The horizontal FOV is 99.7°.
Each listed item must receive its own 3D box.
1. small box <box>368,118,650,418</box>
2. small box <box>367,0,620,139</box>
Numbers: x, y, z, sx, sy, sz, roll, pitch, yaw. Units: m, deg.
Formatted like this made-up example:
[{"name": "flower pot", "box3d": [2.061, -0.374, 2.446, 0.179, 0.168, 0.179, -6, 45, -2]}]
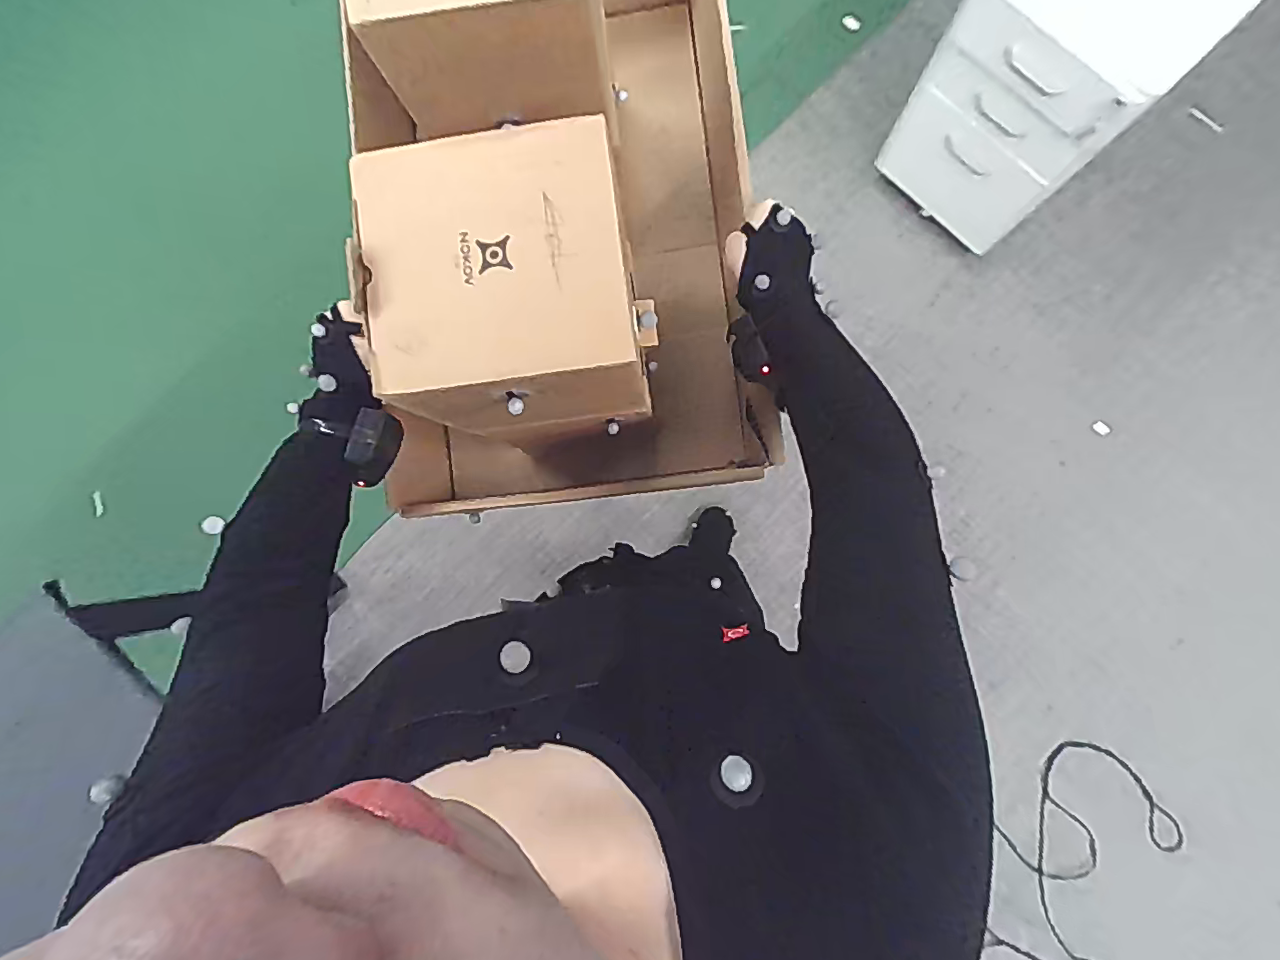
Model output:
[{"name": "small box", "box3d": [-0.087, -0.149, 0.441, 0.179, 0.176, 0.168, -7, 89, 1]}, {"name": "small box", "box3d": [-0.108, -0.402, 0.445, 0.168, 0.176, 0.179, -5, 91, 2]}]
